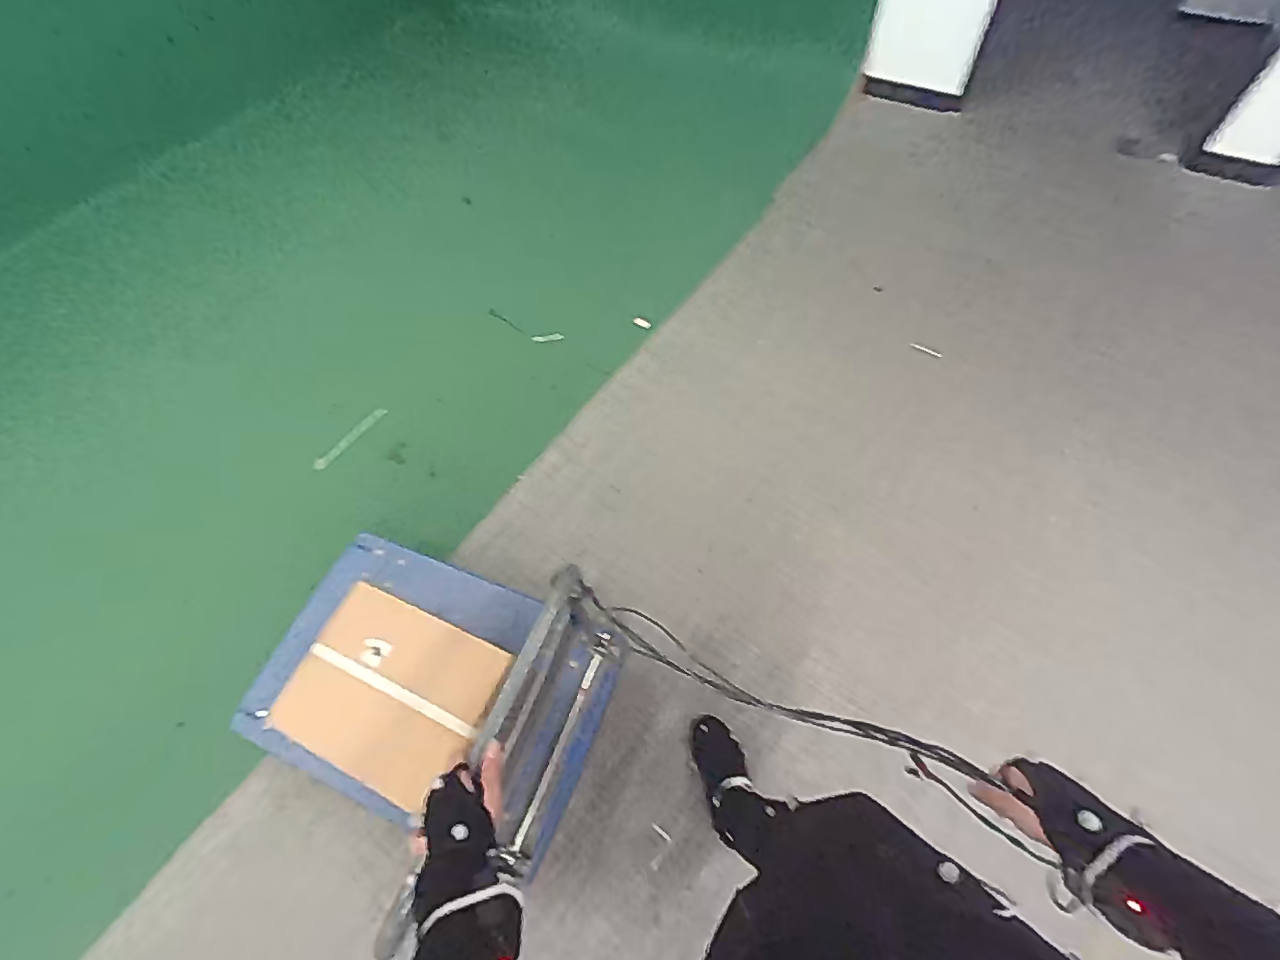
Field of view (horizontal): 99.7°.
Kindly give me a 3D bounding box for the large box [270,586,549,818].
[{"bbox_3d":[-0.474,0.485,1.200,0.408,0.320,0.320,20,66,17],"label":"large box"}]
